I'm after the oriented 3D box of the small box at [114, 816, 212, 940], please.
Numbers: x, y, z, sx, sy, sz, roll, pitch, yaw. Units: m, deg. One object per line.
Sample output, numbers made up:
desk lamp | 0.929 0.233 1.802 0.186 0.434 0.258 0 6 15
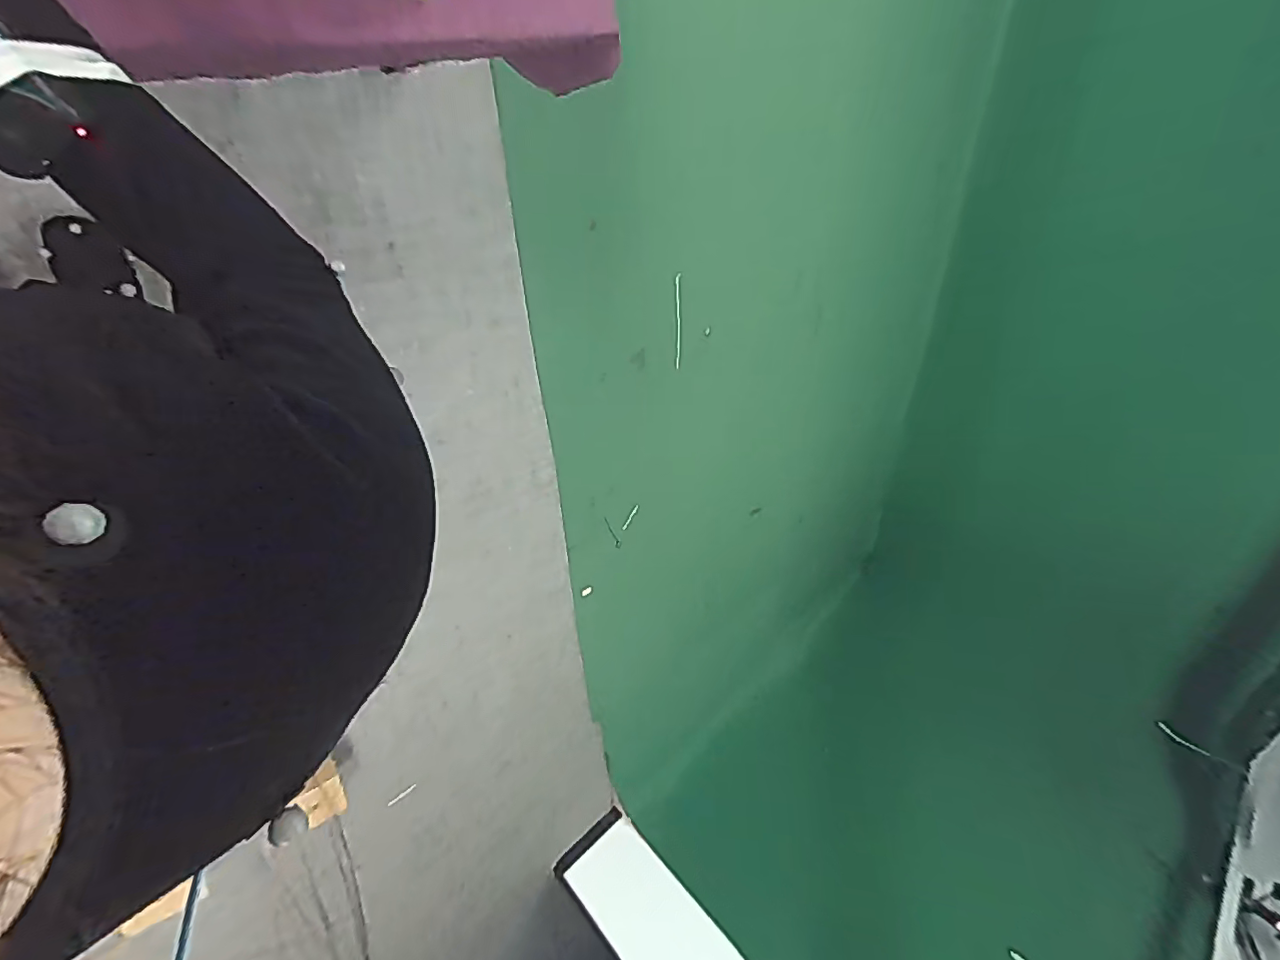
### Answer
small box | -1.295 1.069 1.469 0.179 0.176 0.168 -11 119 -42
